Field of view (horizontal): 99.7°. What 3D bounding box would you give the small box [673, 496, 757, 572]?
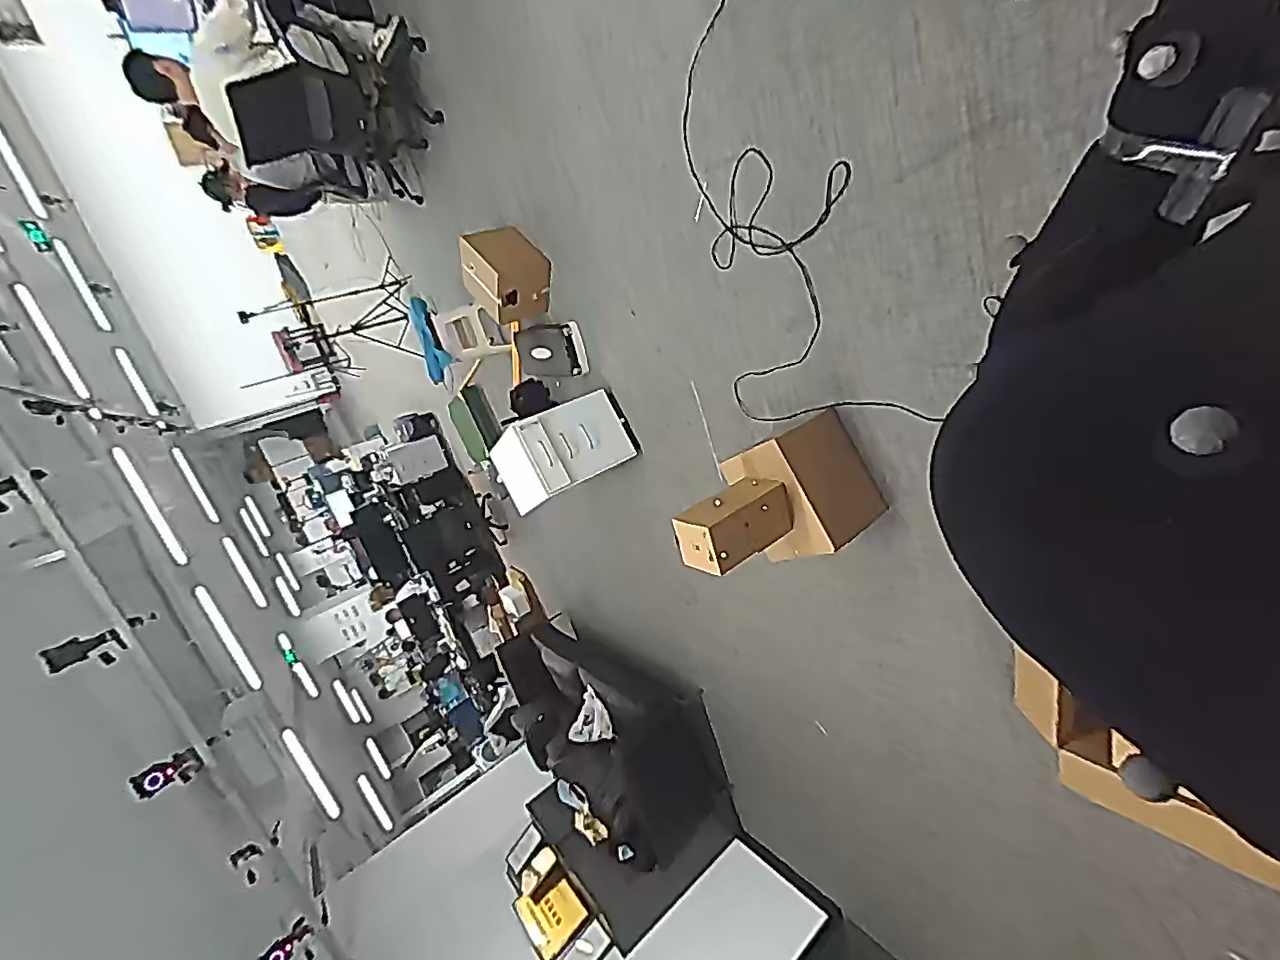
[{"bbox_3d":[0.237,0.161,1.690,0.179,0.176,0.168,10,123,56],"label":"small box"}]
